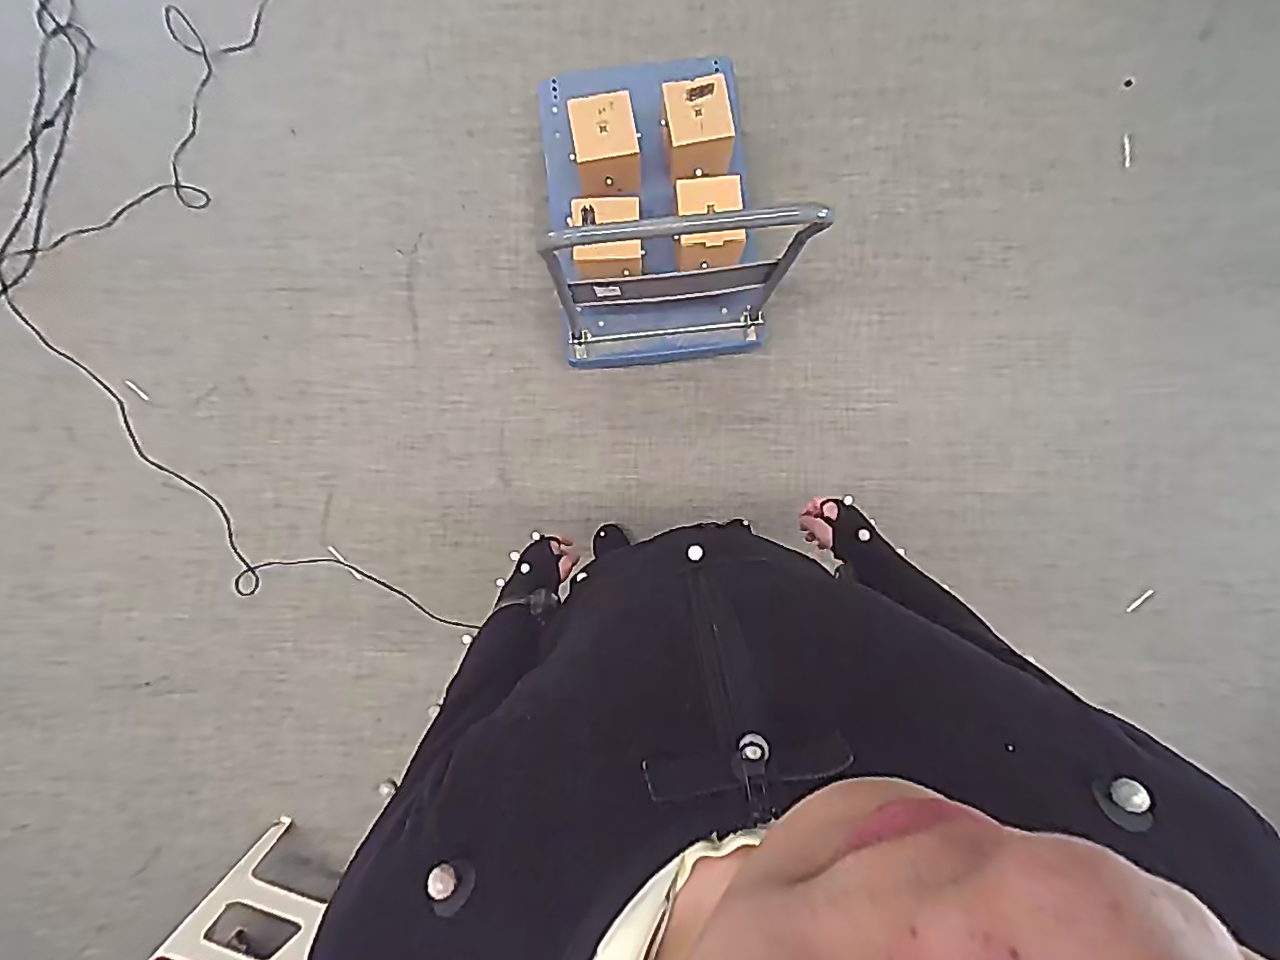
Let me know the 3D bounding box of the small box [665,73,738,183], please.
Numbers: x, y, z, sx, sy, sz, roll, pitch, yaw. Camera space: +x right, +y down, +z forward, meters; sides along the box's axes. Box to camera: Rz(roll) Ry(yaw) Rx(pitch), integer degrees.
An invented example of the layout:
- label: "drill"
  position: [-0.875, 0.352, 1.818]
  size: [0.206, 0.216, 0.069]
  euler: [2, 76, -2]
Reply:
- label: "small box"
  position: [0.161, -0.951, 1.472]
  size: [0.168, 0.176, 0.179]
  euler: [-9, 87, 1]

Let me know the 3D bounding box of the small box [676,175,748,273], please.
- label: "small box"
  position: [0.188, -0.682, 1.454]
  size: [0.168, 0.176, 0.179]
  euler: [-5, 86, 0]

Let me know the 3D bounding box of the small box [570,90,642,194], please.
- label: "small box"
  position: [-0.087, -0.908, 1.473]
  size: [0.168, 0.176, 0.179]
  euler: [-9, 86, -1]
